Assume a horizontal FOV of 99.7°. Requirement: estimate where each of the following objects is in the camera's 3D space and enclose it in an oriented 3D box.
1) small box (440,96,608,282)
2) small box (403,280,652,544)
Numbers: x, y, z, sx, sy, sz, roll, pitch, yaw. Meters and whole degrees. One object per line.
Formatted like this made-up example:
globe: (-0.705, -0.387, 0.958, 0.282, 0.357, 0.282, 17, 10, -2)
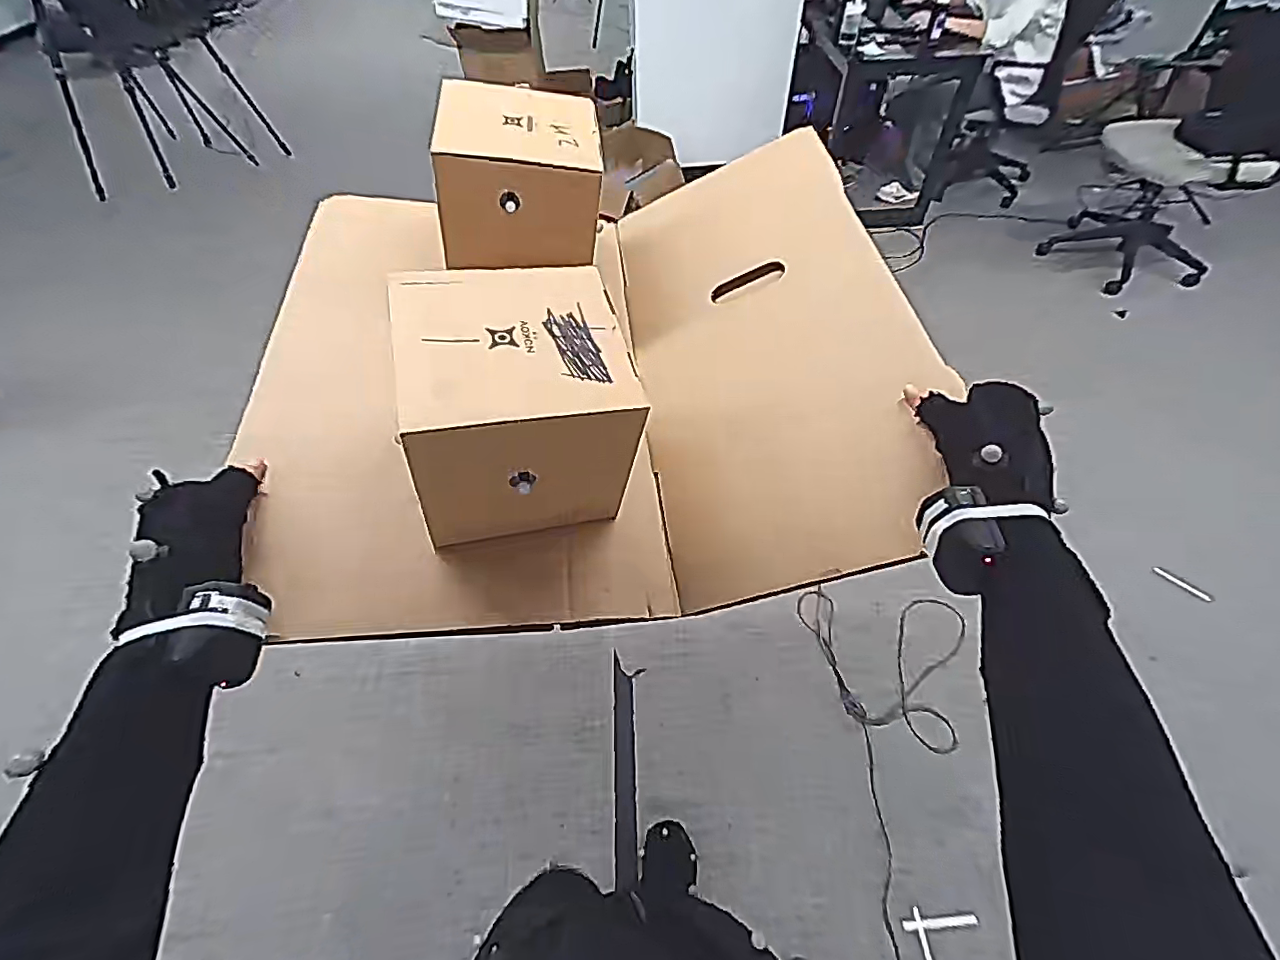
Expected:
small box: (-0.140, -0.337, 0.673, 0.179, 0.176, 0.168, 1, 57, -12)
small box: (-0.107, -0.059, 0.495, 0.179, 0.176, 0.168, -8, 59, -17)
